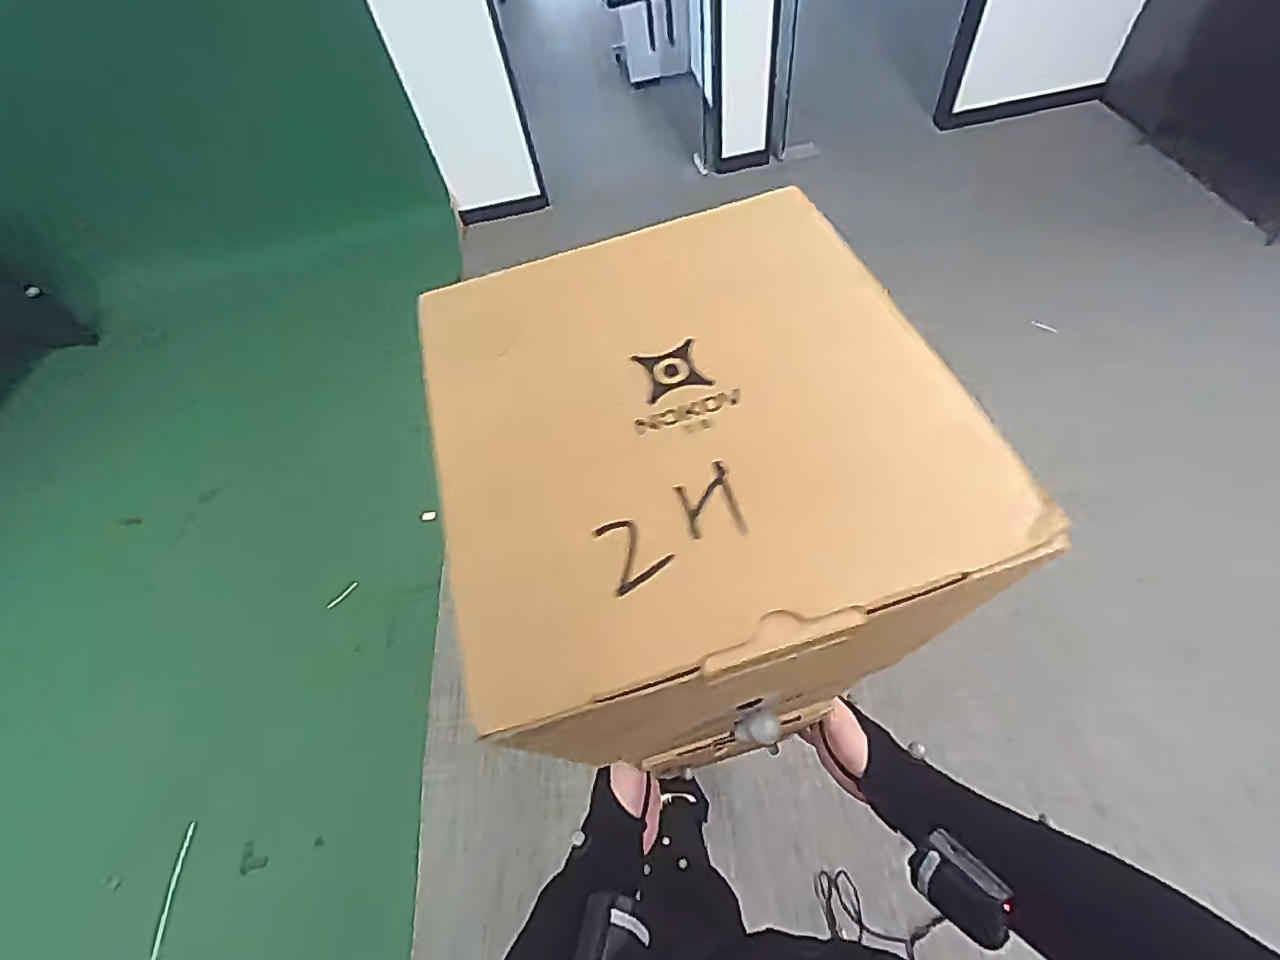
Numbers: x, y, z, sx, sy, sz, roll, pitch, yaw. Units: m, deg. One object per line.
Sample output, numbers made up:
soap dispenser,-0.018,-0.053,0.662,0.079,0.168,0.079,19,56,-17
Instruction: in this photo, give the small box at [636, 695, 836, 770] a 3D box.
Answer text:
small box,0.067,0.172,0.533,0.168,0.176,0.179,-15,58,-2

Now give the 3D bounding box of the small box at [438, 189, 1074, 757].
small box,0.024,0.009,0.250,0.168,0.176,0.179,-17,59,-2
